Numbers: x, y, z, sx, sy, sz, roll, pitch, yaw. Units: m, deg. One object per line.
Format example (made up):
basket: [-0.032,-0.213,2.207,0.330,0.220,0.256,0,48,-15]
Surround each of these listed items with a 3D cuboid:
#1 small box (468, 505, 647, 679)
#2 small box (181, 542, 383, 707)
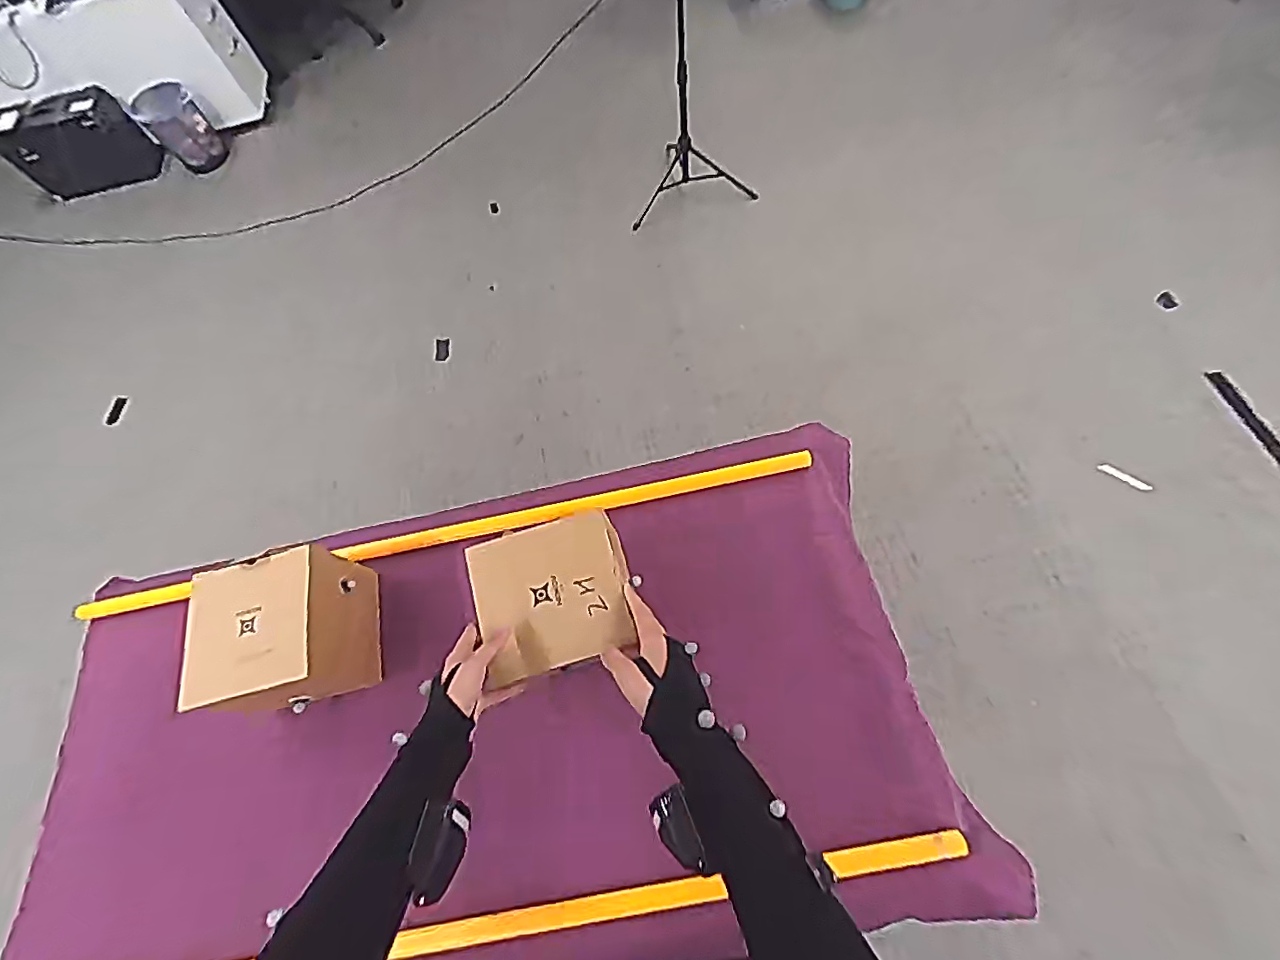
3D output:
small box: [-0.098,0.151,0.703,0.179,0.176,0.168,-17,72,-1]
small box: [-0.483,0.209,0.757,0.168,0.176,0.179,-15,66,1]
